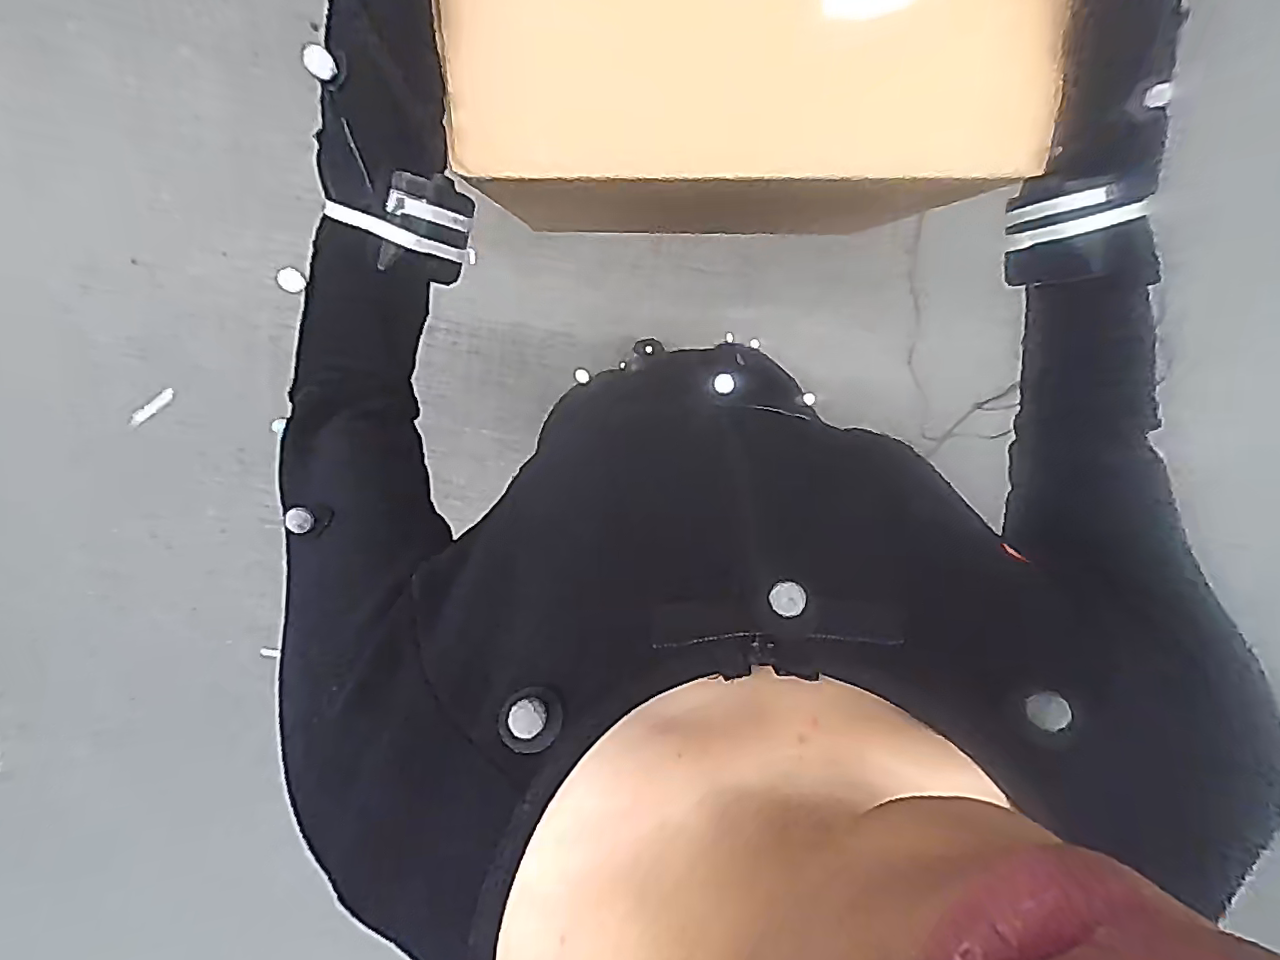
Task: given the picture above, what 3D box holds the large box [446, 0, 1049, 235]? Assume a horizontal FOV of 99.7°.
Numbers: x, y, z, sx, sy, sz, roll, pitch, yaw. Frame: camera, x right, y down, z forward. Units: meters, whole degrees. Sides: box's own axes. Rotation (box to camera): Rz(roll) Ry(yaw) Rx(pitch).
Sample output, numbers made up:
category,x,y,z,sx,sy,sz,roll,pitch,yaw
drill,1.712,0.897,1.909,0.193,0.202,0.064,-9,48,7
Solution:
category,x,y,z,sx,sy,sz,roll,pitch,yaw
large box,0.065,-0.409,0.478,0.408,0.320,0.320,-1,108,-1
